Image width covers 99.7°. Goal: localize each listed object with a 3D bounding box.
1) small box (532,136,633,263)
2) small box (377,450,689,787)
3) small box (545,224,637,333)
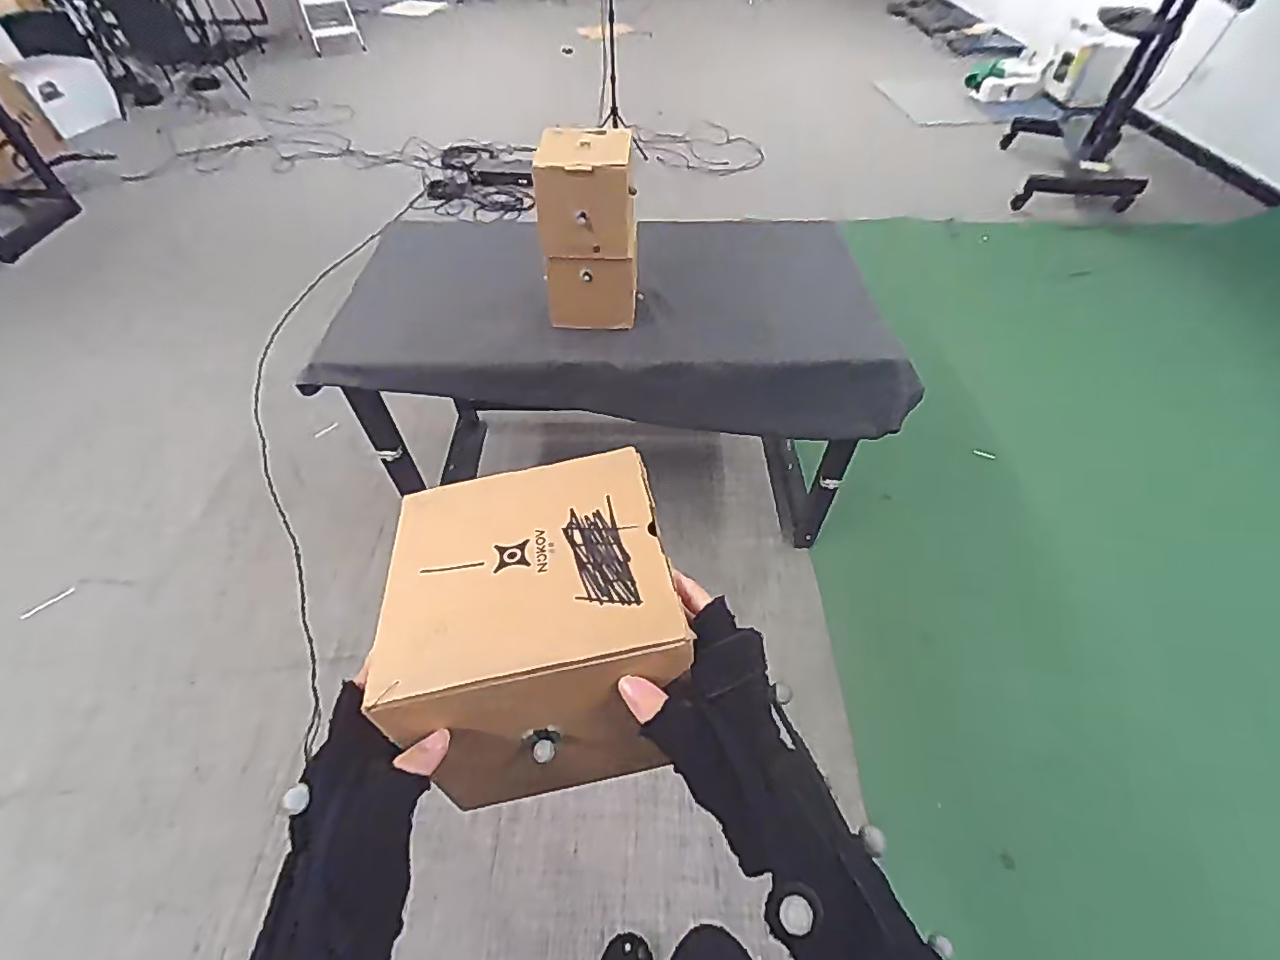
[{"bbox_3d":[-0.100,-0.537,1.040,0.168,0.176,0.179,2,52,1],"label":"small box"},{"bbox_3d":[-0.065,0.105,0.410,0.179,0.176,0.168,-11,43,-4],"label":"small box"},{"bbox_3d":[-0.098,-0.435,1.168,0.179,0.176,0.168,2,51,0],"label":"small box"}]
